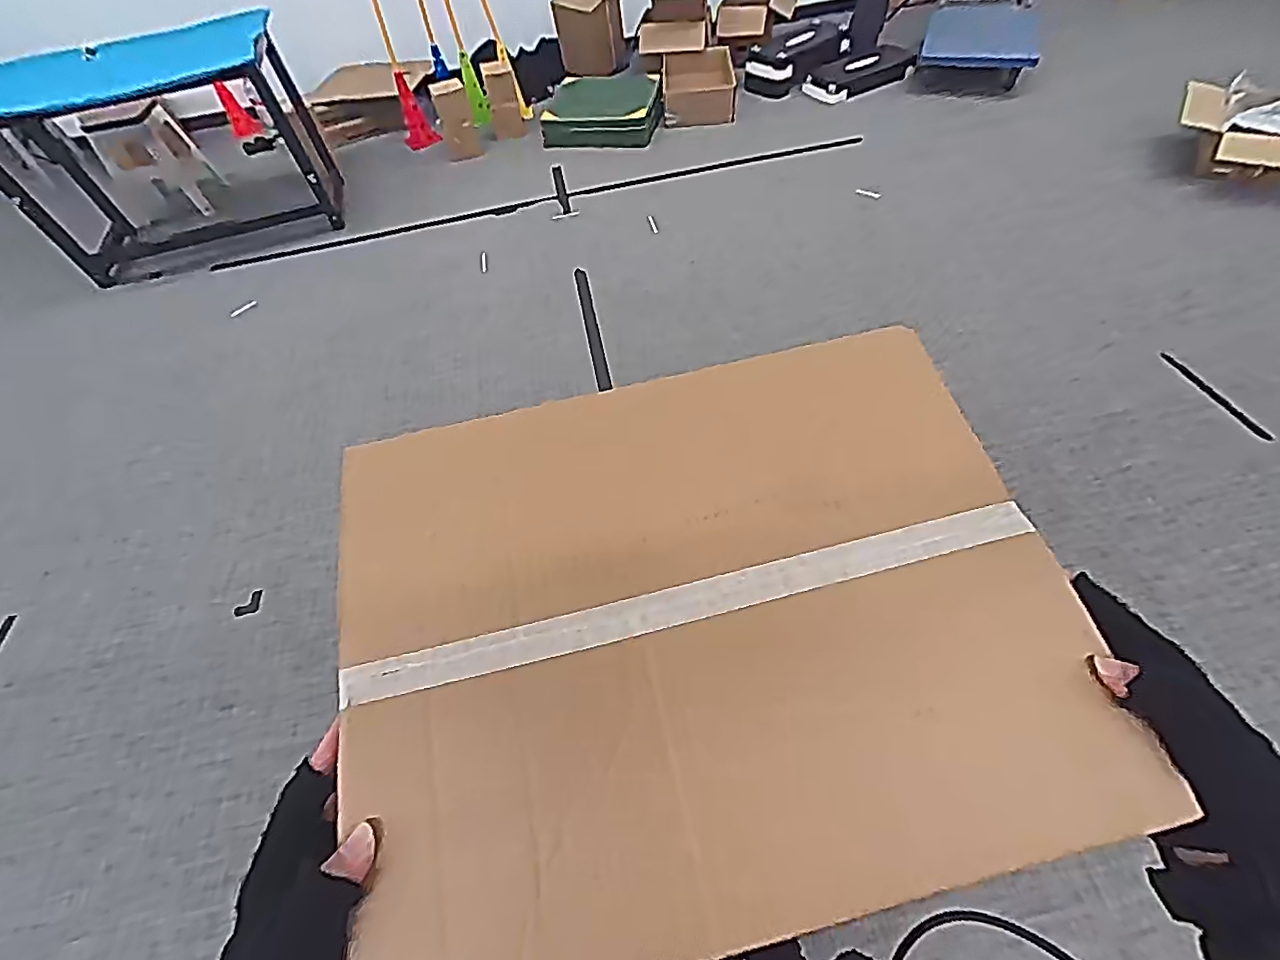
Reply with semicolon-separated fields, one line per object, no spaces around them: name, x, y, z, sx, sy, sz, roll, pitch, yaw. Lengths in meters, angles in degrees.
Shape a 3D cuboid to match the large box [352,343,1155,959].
large box;0.040;0.142;0.452;0.408;0.320;0.320;-14;64;-3
